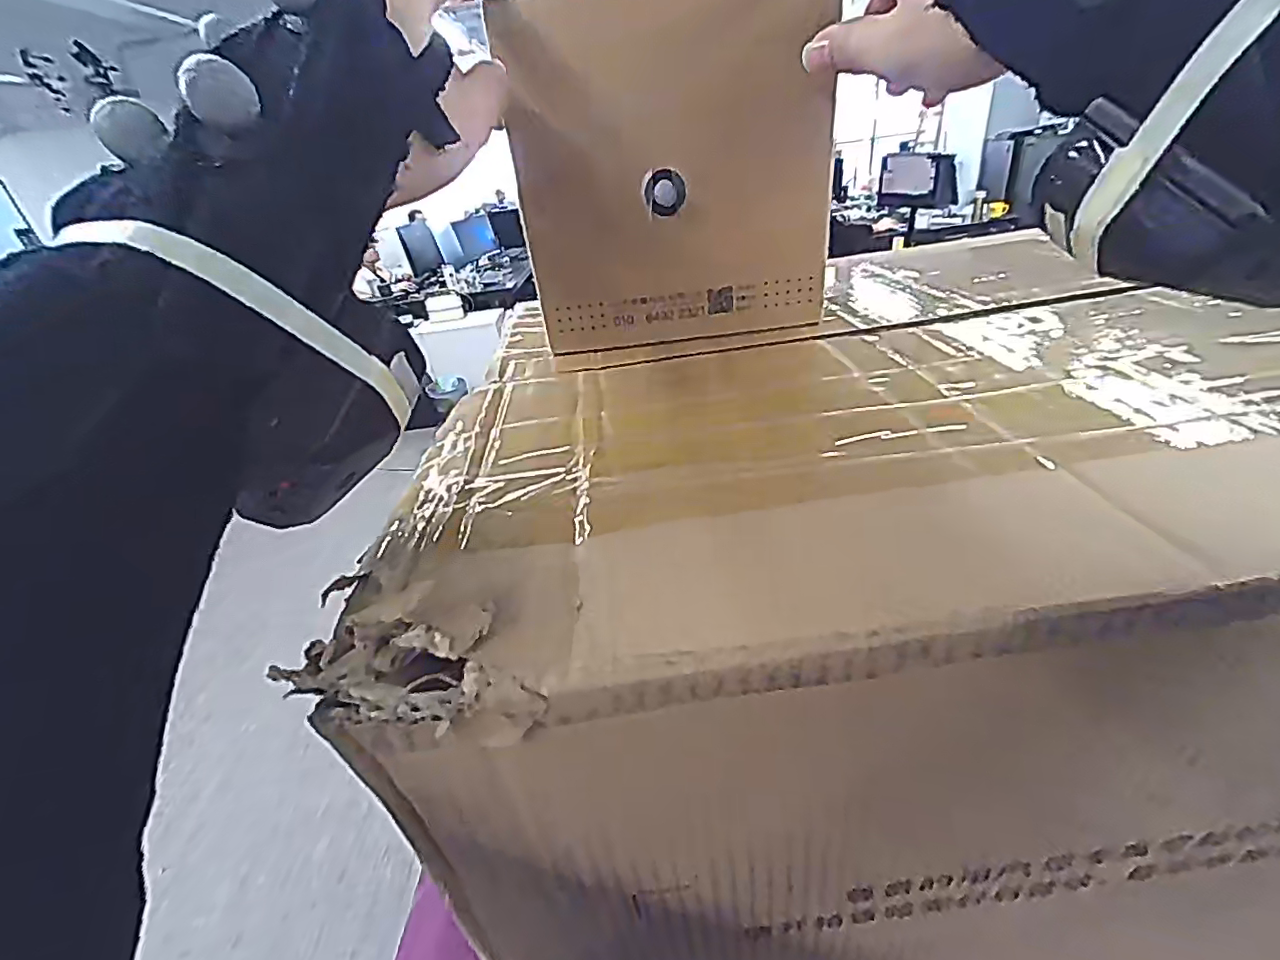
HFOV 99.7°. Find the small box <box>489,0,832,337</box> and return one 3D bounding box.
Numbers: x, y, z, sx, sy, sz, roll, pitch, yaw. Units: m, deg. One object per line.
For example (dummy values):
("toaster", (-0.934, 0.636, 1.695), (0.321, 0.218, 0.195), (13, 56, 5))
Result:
("small box", (0.018, -0.198, 0.355), (0.168, 0.176, 0.179), (-6, 31, 2))
